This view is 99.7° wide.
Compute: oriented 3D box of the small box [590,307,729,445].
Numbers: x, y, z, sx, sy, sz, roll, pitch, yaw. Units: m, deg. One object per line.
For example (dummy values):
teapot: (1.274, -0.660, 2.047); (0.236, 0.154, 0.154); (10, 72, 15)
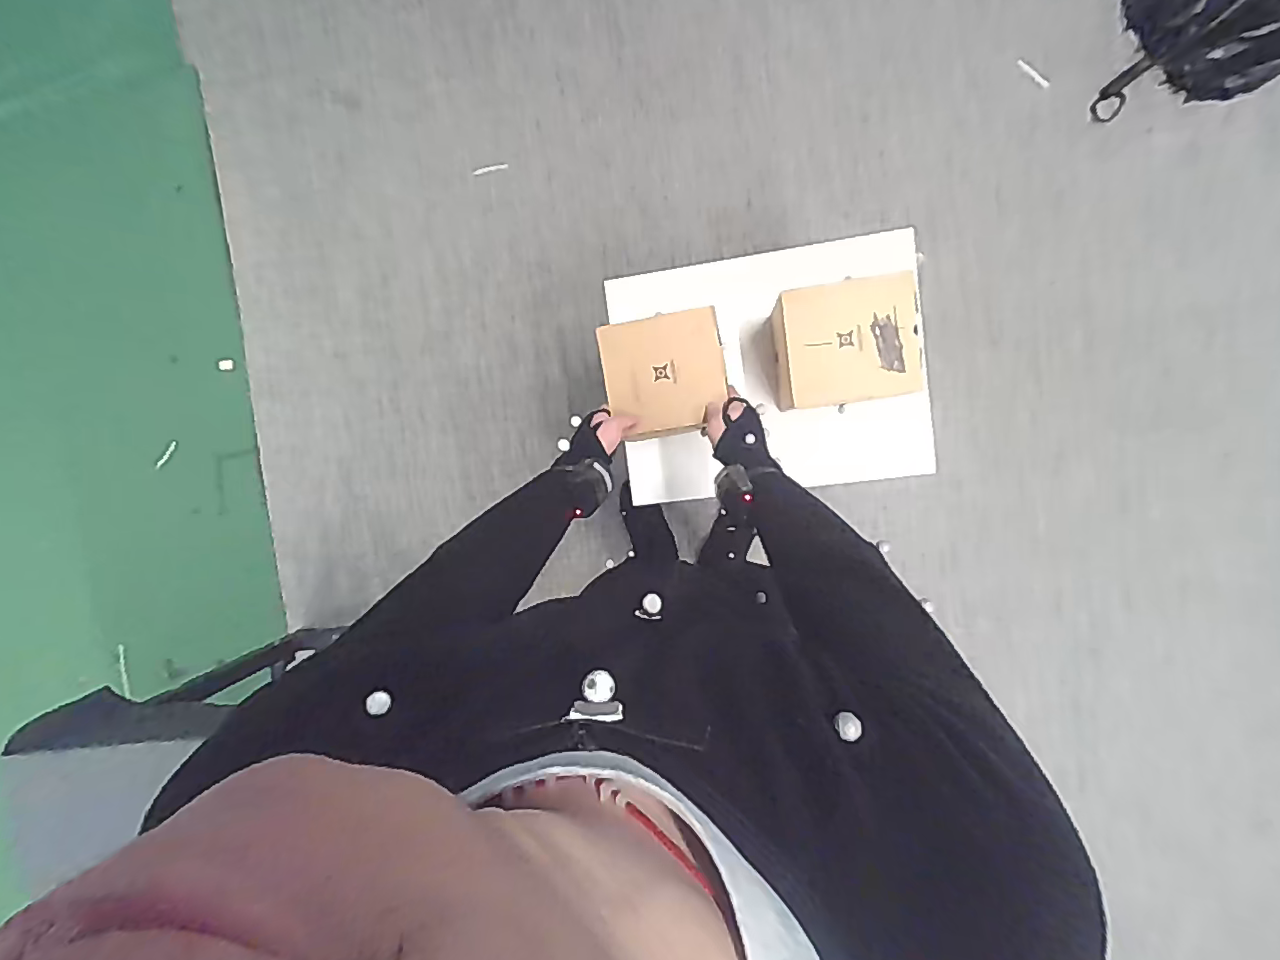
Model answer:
small box: (0.034, -0.151, 0.837); (0.179, 0.176, 0.168); (-10, 90, 7)

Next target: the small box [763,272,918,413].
small box: (0.288, -0.193, 0.809); (0.179, 0.176, 0.168); (-7, 93, 8)
